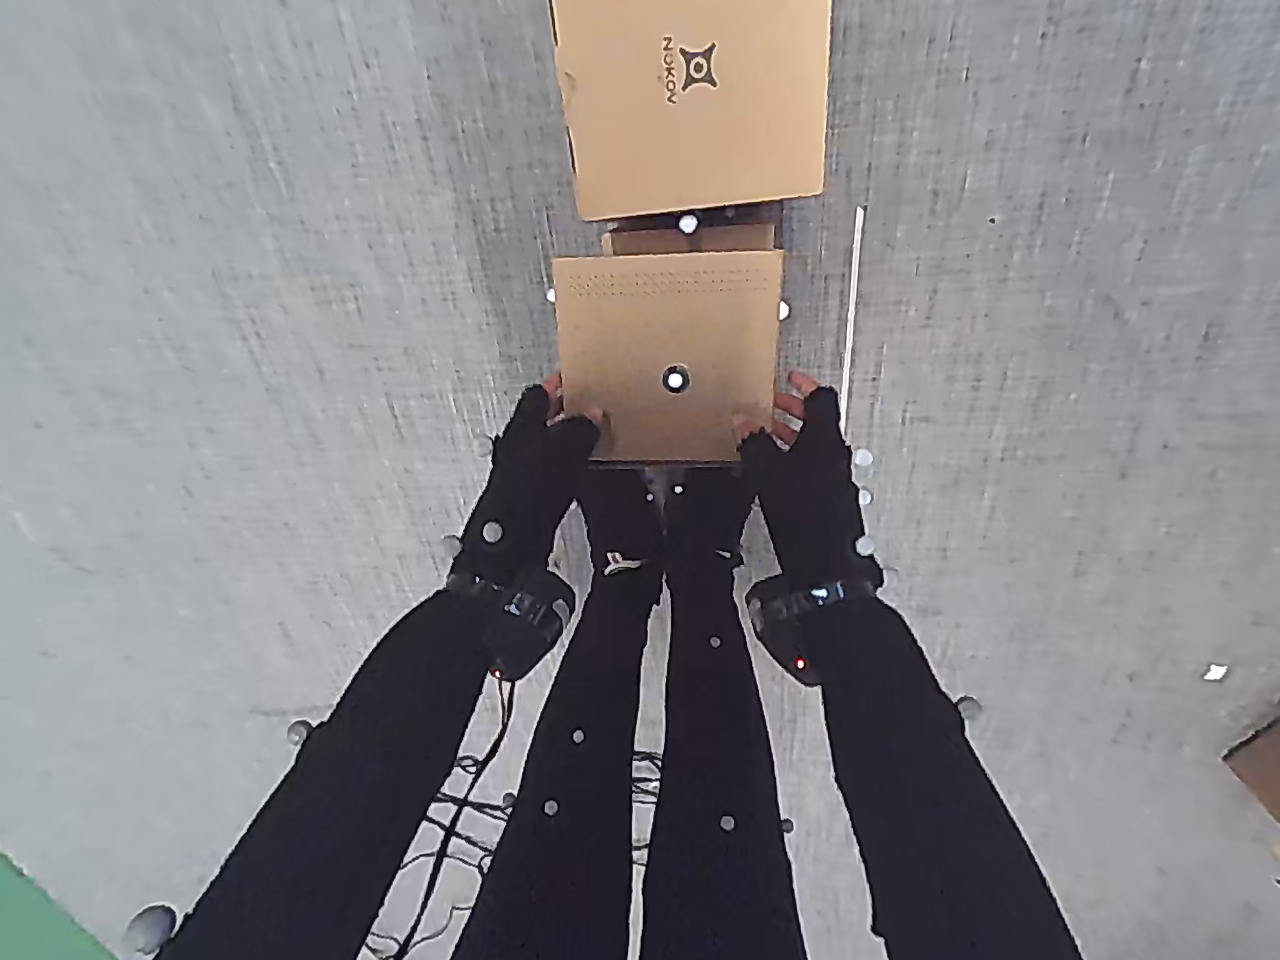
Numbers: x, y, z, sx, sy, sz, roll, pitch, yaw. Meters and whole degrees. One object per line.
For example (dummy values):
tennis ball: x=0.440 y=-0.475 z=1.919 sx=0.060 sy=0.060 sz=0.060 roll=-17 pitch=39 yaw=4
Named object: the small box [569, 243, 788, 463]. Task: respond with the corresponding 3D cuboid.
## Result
small box: x=0.035 y=-0.122 z=0.506 sx=0.179 sy=0.168 sz=0.176 roll=0 pitch=112 yaw=7
